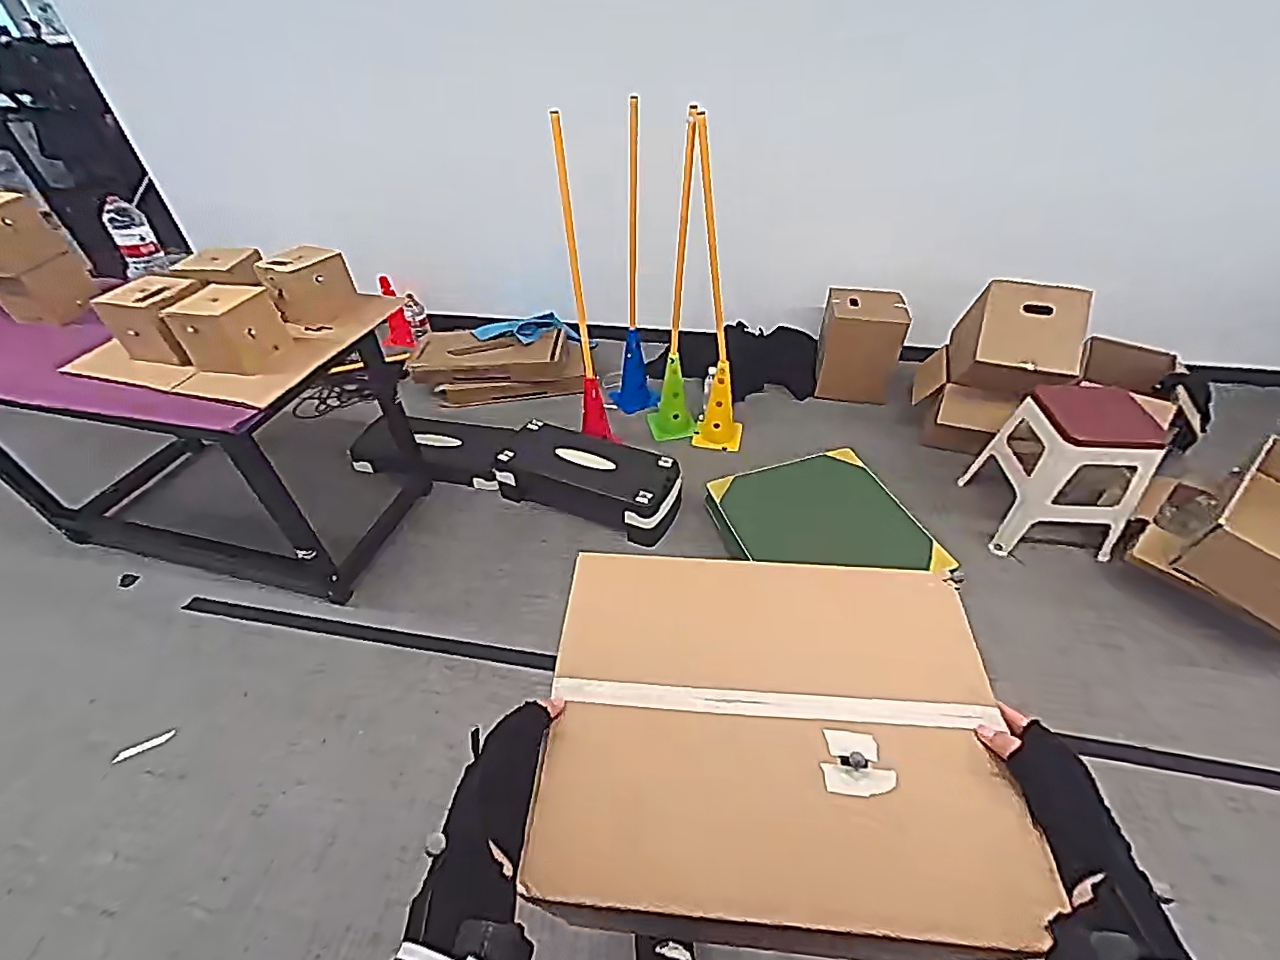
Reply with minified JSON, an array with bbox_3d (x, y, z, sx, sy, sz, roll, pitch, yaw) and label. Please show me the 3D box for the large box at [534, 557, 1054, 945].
[{"bbox_3d":[0.125,0.309,0.621,0.408,0.320,0.320,3,49,5],"label":"large box"}]
